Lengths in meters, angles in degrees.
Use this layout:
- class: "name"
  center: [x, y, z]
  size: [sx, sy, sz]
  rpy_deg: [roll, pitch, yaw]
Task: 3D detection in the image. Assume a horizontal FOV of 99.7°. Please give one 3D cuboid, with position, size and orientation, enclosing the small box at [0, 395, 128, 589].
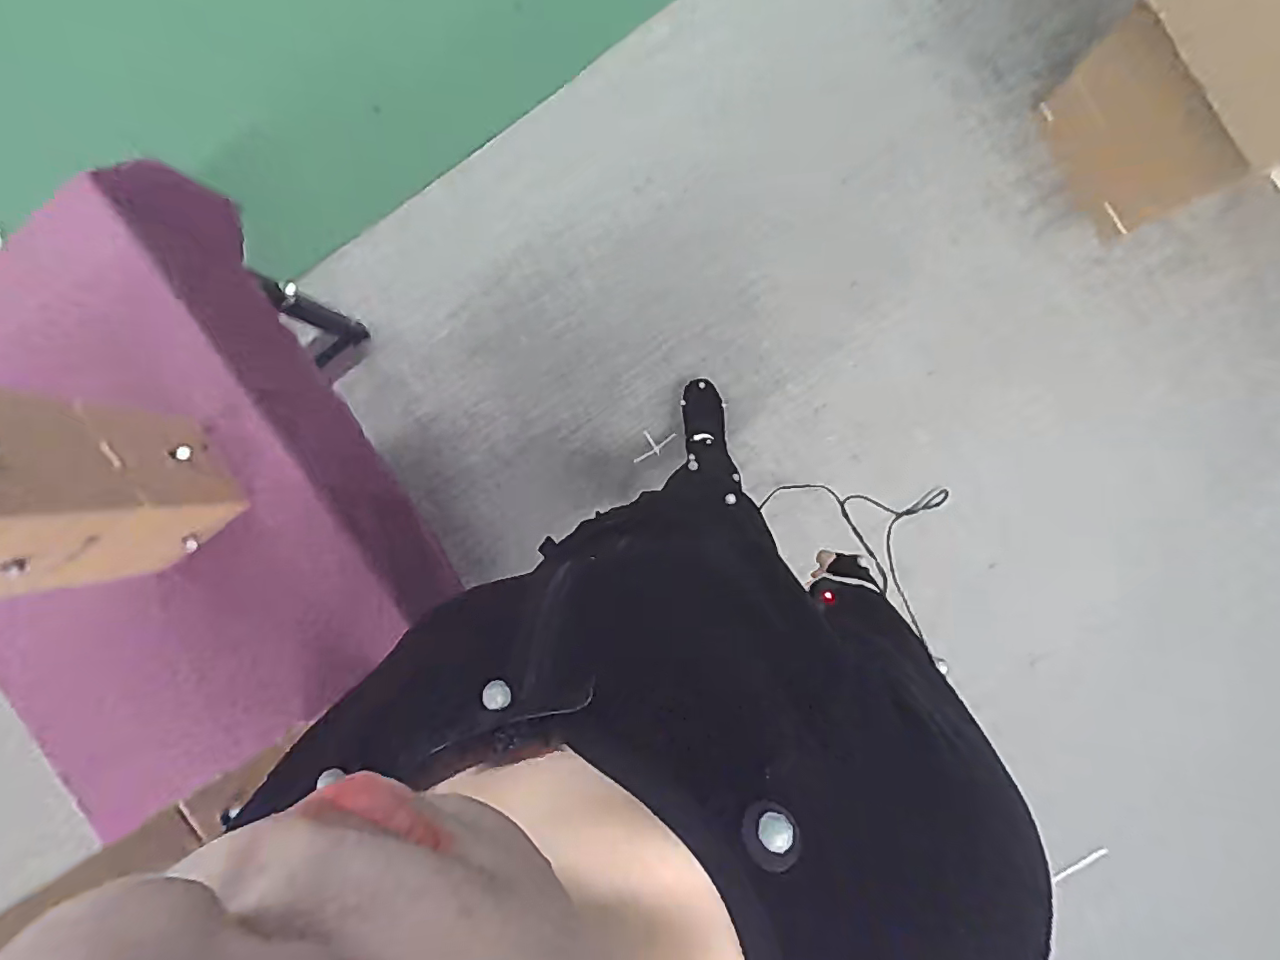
- class: "small box"
  center: [-0.722, 0.016, 0.576]
  size: [0.168, 0.176, 0.179]
  rpy_deg: [-38, 88, 3]

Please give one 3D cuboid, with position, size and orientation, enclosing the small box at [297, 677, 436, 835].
- class: "small box"
  center: [-0.402, 0.397, 0.722]
  size: [0.179, 0.176, 0.168]
  rpy_deg: [-39, 87, 4]

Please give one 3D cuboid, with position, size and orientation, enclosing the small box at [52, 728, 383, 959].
- class: "small box"
  center: [-0.411, 0.402, 0.560]
  size: [0.168, 0.176, 0.179]
  rpy_deg: [-40, 86, 3]

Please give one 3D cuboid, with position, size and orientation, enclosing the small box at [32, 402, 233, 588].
- class: "small box"
  center: [-0.711, 0.018, 0.741]
  size: [0.179, 0.176, 0.168]
  rpy_deg: [-37, 88, 3]
